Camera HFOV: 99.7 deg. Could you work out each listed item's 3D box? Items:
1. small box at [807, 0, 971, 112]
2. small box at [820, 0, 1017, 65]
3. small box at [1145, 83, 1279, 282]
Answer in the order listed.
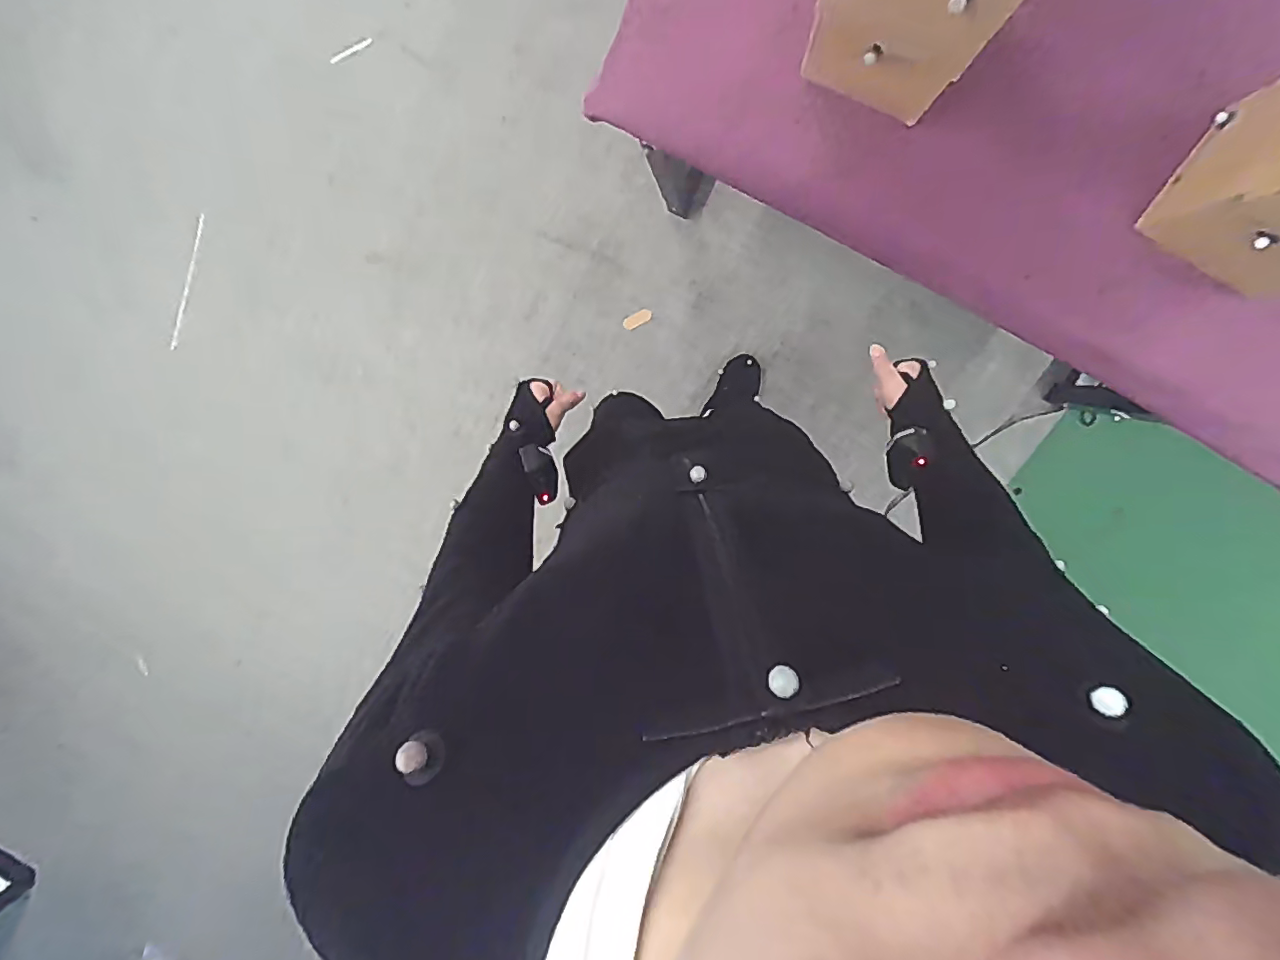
[{"bbox_3d":[0.323,-0.581,0.647,0.179,0.176,0.168,27,107,4],"label":"small box"},{"bbox_3d":[0.290,-0.529,0.493,0.179,0.176,0.168,29,106,3],"label":"small box"},{"bbox_3d":[0.762,-0.347,0.622,0.179,0.176,0.168,31,107,1],"label":"small box"}]
